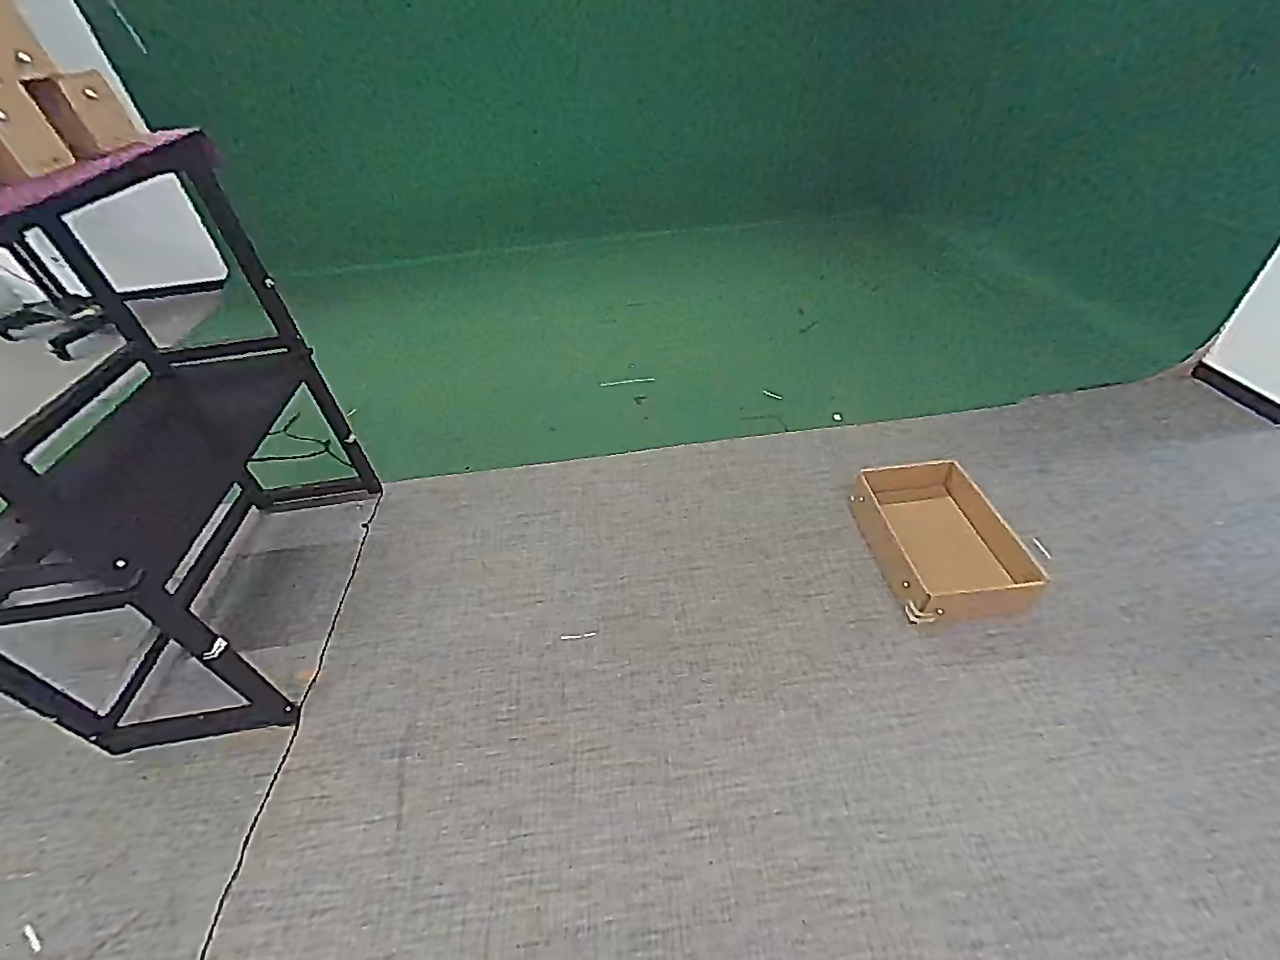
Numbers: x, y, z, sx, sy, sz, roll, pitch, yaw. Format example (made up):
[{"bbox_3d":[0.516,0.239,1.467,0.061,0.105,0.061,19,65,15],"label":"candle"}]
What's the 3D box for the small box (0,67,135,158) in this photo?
[{"bbox_3d":[-1.494,-0.954,1.411,0.168,0.176,0.179,-8,42,-1],"label":"small box"}]
